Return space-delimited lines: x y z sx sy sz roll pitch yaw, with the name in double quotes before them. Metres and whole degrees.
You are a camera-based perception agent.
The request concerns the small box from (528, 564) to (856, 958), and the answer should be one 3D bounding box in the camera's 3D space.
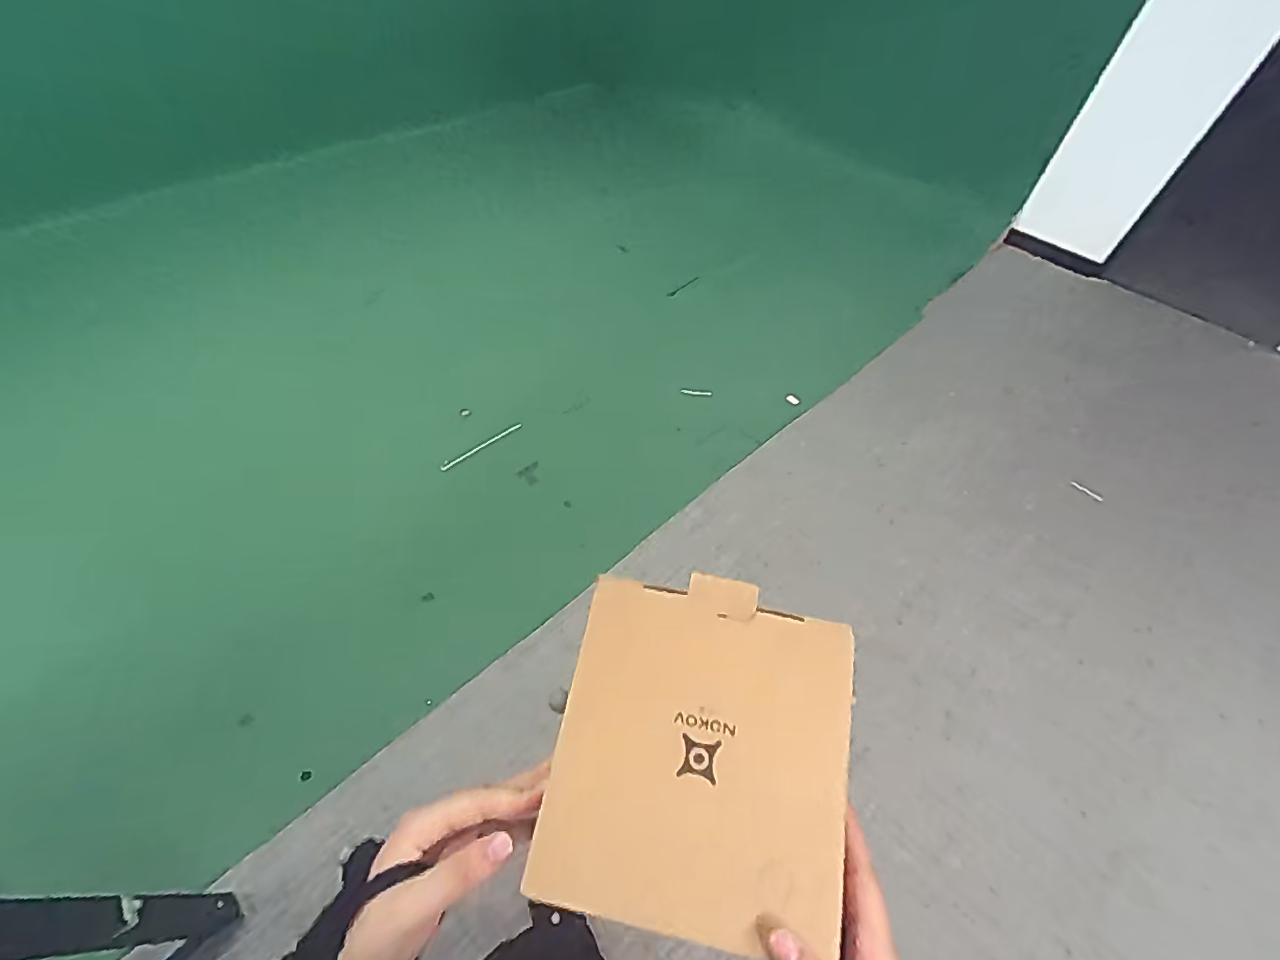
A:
"small box" 0.038 0.178 0.382 0.168 0.176 0.179 10 66 5
